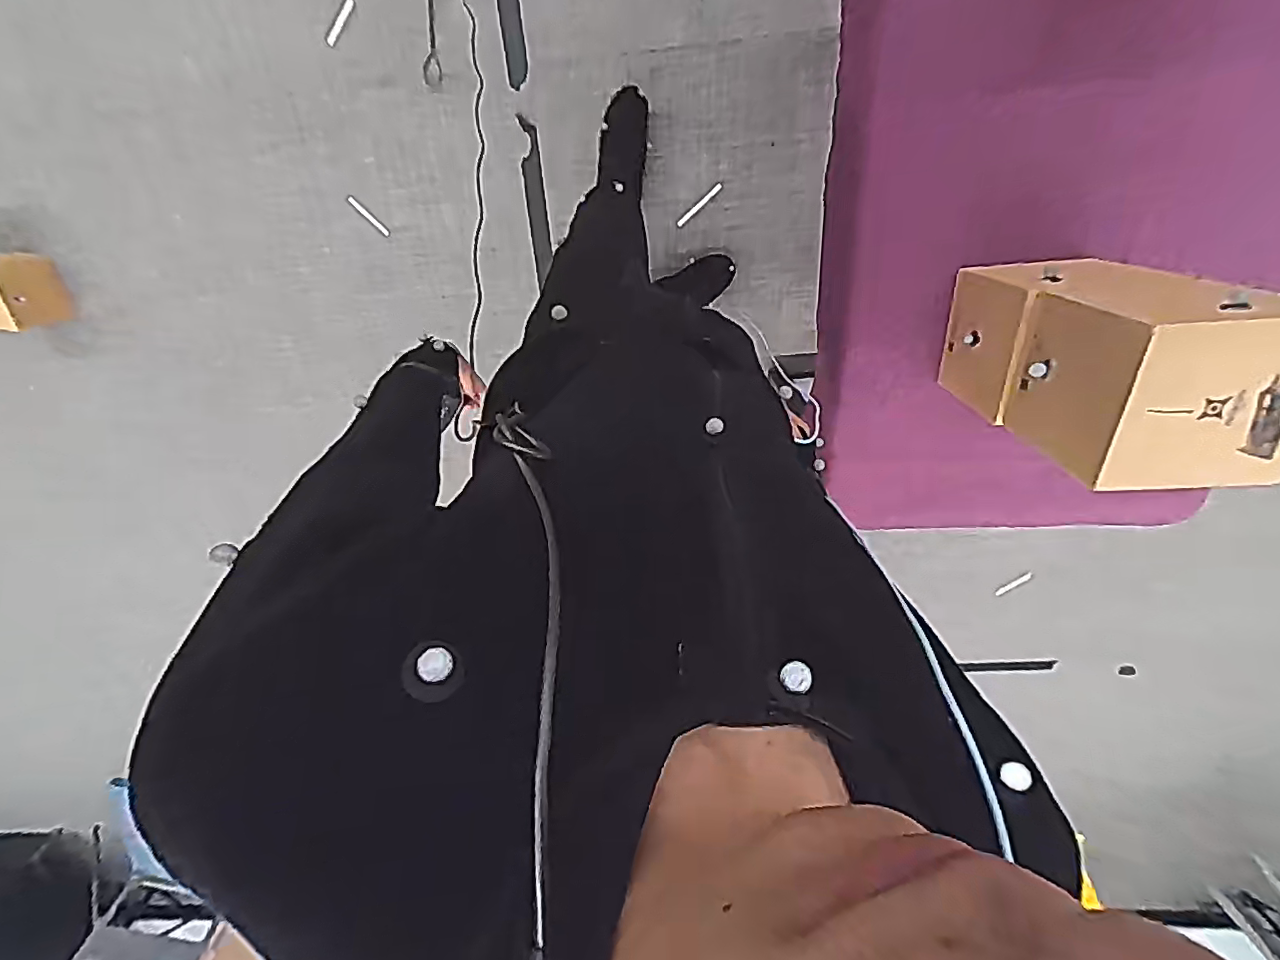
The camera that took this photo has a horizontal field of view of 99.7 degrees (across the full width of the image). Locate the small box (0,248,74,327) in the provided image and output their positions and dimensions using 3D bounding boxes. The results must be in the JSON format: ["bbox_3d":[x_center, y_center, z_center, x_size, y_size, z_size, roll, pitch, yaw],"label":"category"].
[{"bbox_3d":[-1.723,-0.526,1.465,0.168,0.176,0.179,3,121,0],"label":"small box"}]

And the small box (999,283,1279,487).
[{"bbox_3d":[0.528,-0.106,0.569,0.179,0.176,0.168,-2,119,4],"label":"small box"}]

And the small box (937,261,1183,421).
[{"bbox_3d":[0.524,-0.187,0.712,0.179,0.176,0.168,-2,120,4],"label":"small box"}]
